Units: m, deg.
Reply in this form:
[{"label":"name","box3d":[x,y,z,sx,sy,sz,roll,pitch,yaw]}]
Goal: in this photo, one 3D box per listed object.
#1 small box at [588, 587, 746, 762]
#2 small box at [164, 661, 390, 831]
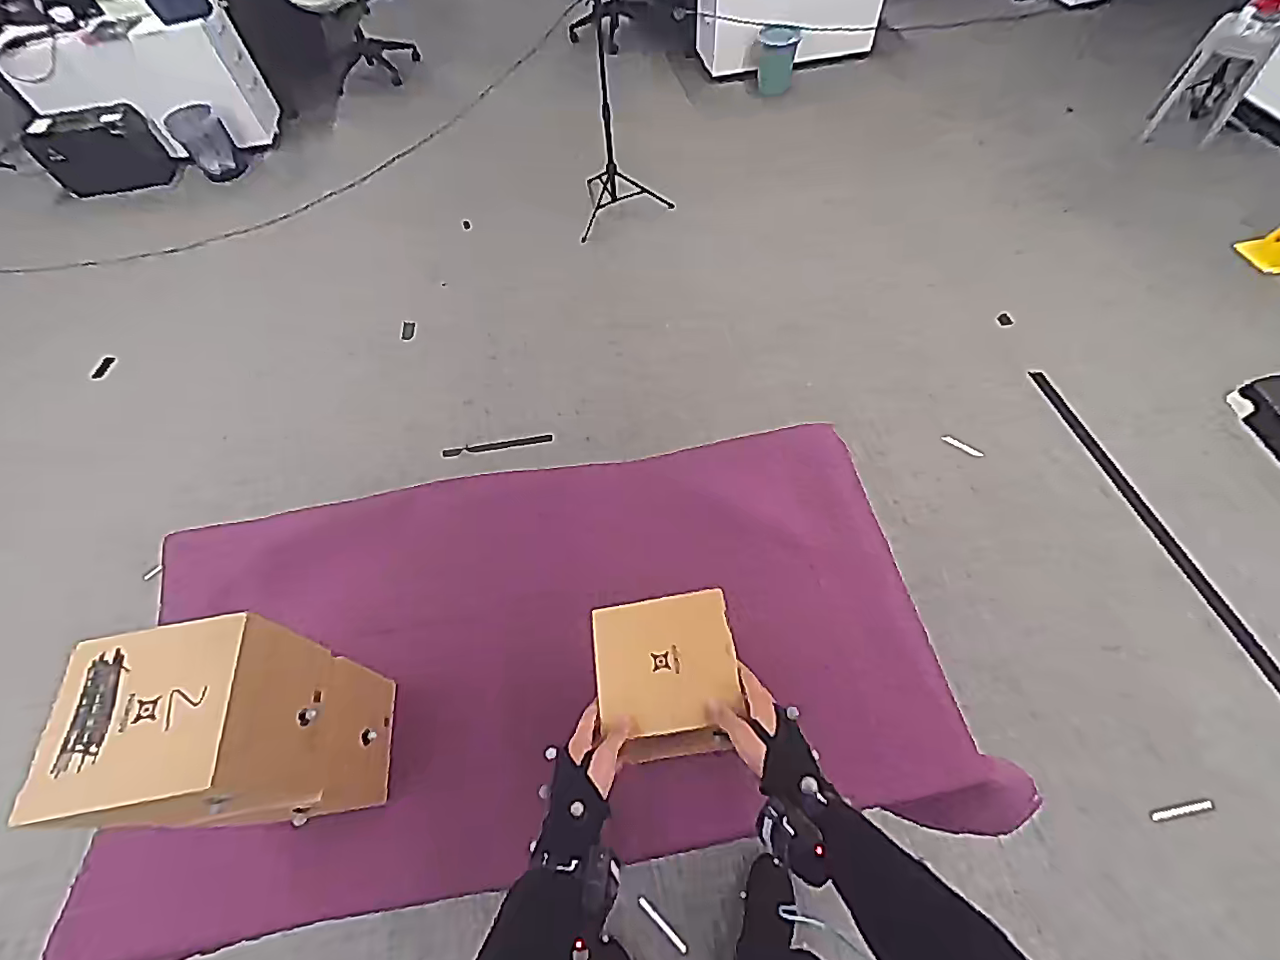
[{"label":"small box","box3d":[0.038,0.267,0.726,0.179,0.176,0.168,-12,54,3]},{"label":"small box","box3d":[-0.454,0.352,0.715,0.179,0.176,0.168,-9,58,-2]}]
